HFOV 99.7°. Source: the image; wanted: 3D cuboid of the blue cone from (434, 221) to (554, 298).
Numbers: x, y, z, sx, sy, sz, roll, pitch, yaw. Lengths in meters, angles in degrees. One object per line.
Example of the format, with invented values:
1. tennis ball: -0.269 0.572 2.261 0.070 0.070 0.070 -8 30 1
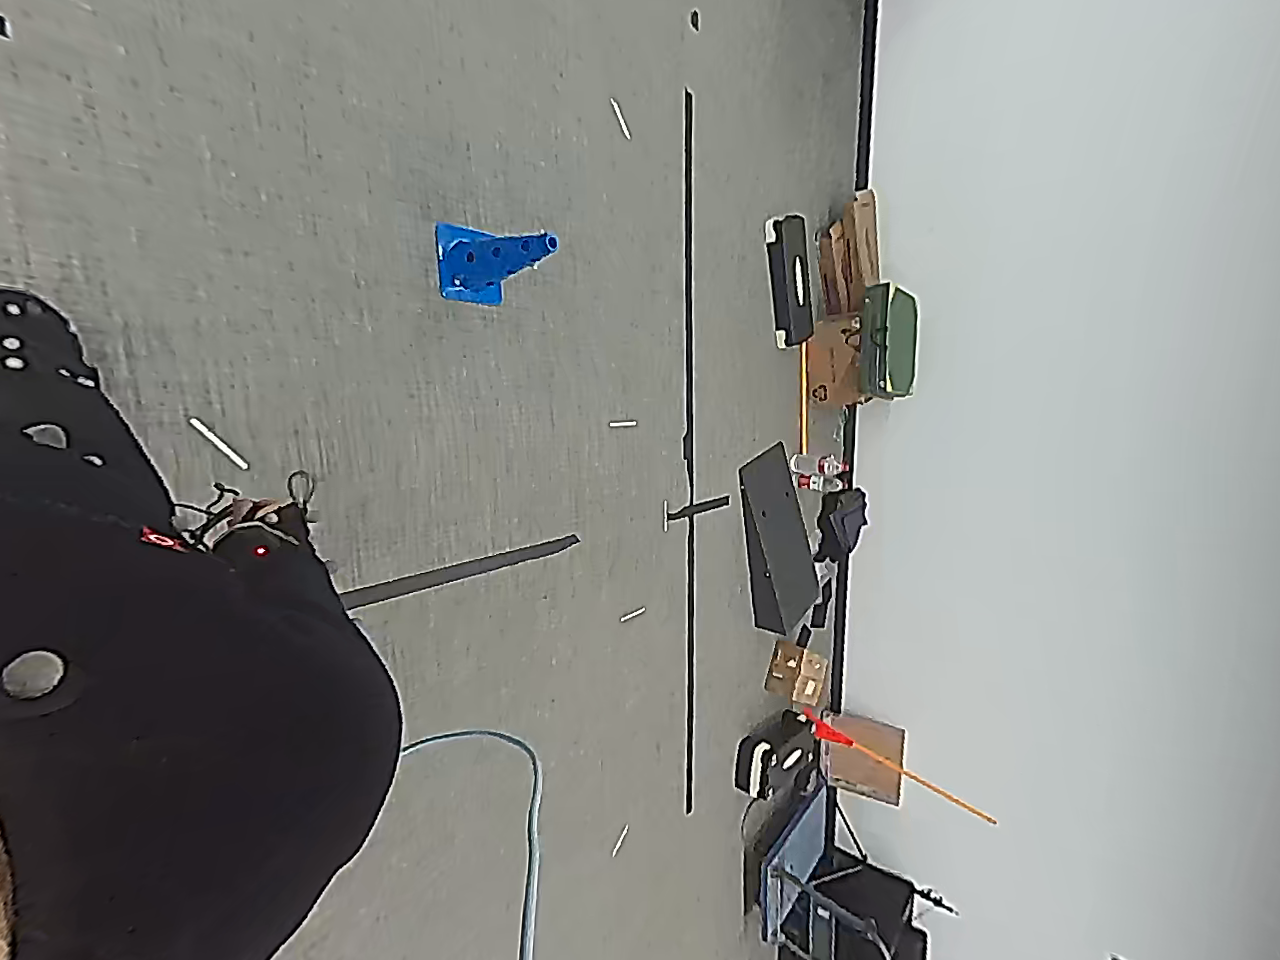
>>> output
1. blue cone: -0.359 -0.602 1.413 0.193 0.380 0.192 -10 102 -49
